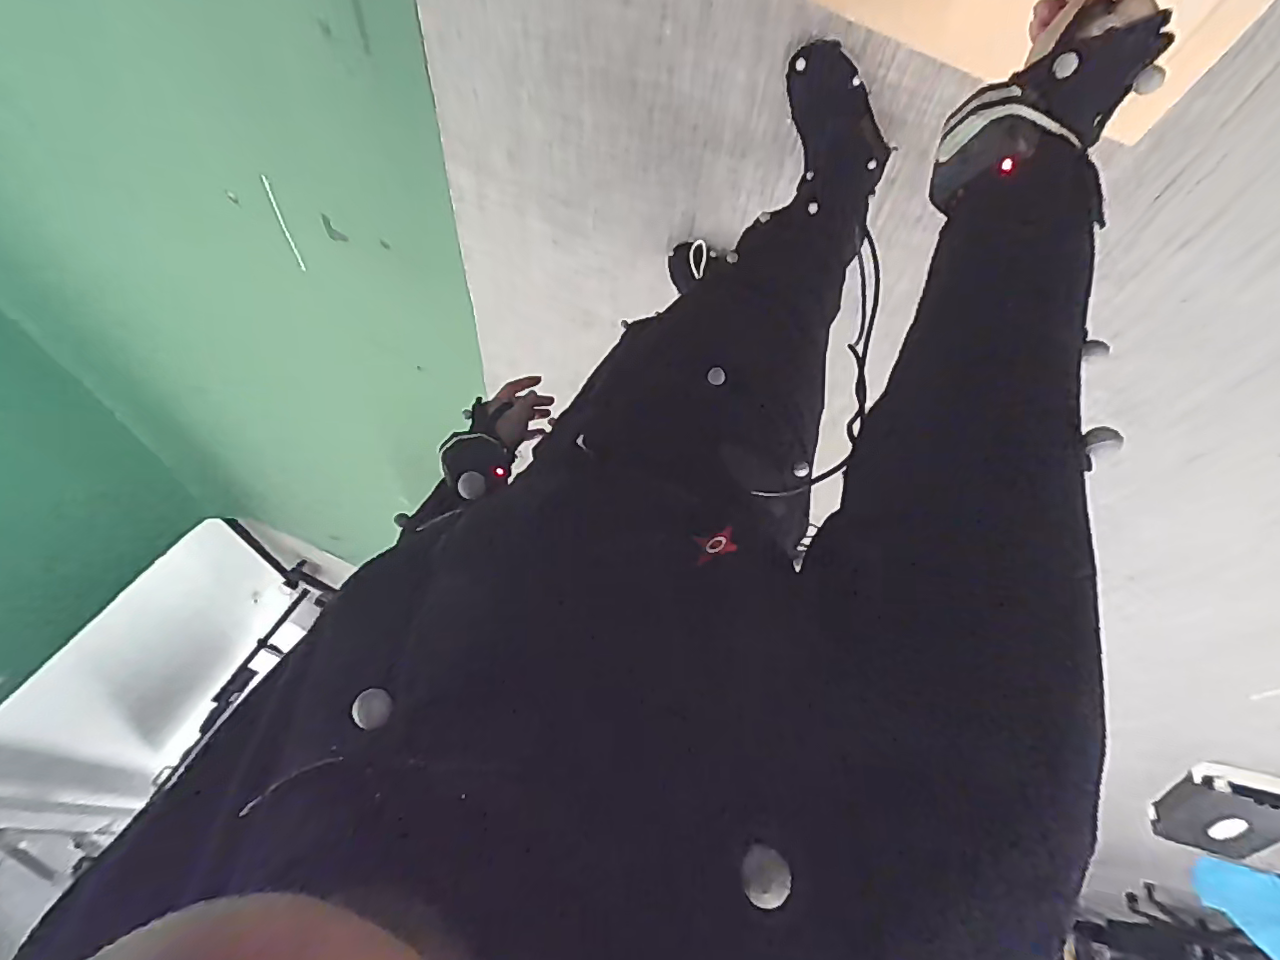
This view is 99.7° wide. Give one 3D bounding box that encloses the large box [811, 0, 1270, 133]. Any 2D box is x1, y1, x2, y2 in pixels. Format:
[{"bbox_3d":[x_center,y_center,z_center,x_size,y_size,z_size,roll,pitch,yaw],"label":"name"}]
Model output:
[{"bbox_3d":[0.442,-0.638,0.545,0.408,0.320,0.320,25,146,2],"label":"large box"}]
